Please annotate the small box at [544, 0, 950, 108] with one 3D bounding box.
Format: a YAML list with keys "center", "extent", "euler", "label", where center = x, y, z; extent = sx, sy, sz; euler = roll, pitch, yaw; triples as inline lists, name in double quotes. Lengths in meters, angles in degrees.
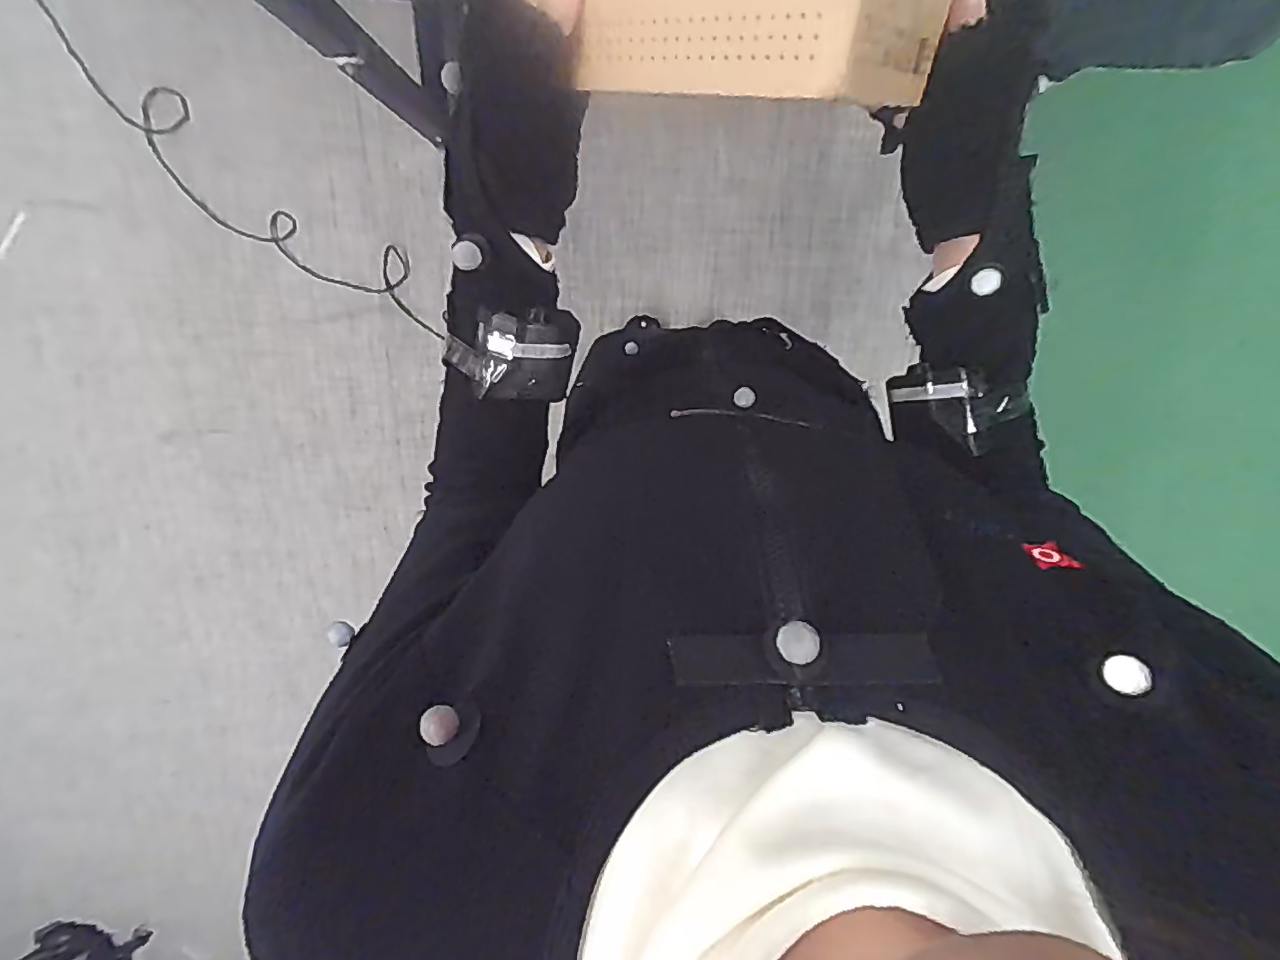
- center: [0.061, -0.296, 0.272]
  extent: [0.179, 0.168, 0.176]
  euler: [25, 131, 27]
  label: "small box"
